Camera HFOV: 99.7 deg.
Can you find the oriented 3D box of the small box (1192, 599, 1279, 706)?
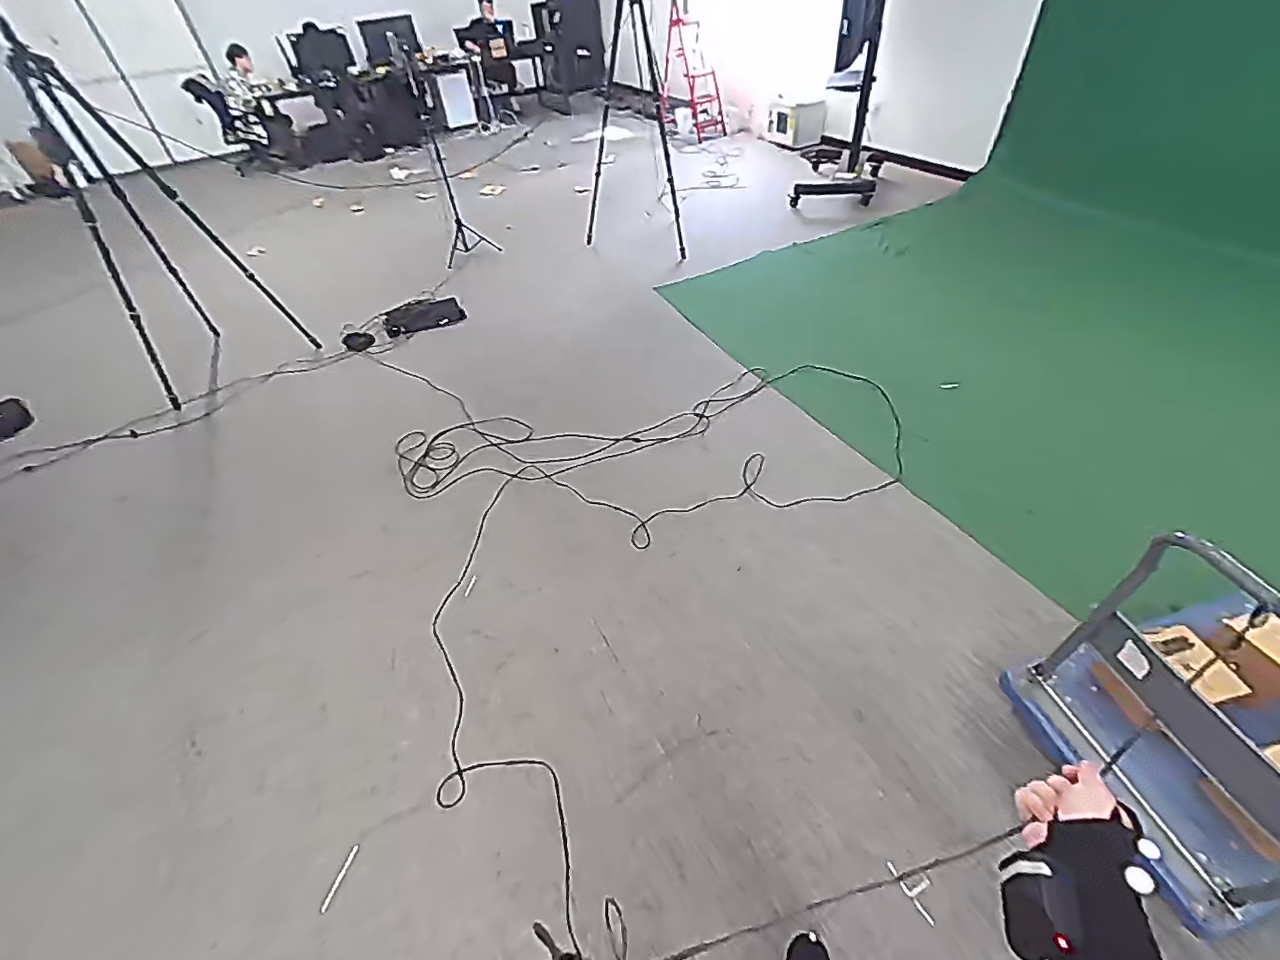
[{"bbox_3d":[1.534,0.427,1.330,0.179,0.176,0.168,-17,46,-10],"label":"small box"}]

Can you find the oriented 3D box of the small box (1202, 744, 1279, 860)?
[{"bbox_3d":[1.357,0.659,1.124,0.179,0.176,0.168,-14,45,-6],"label":"small box"}]
